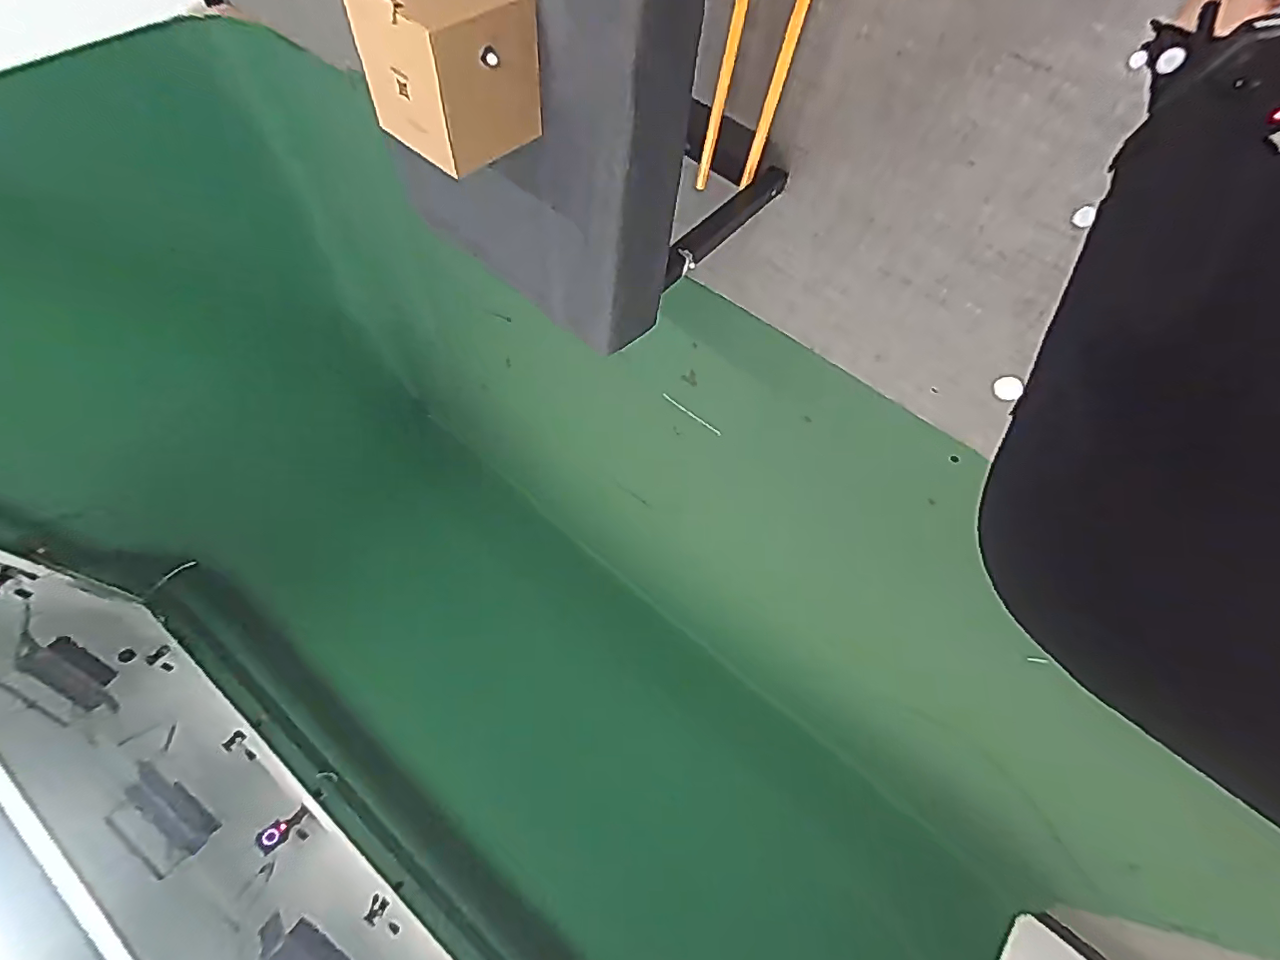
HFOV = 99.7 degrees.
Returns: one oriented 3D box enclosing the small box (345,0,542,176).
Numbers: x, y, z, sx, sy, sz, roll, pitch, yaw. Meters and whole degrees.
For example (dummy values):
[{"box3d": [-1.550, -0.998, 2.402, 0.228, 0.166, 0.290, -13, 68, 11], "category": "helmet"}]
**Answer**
[{"box3d": [-0.248, -0.556, 0.718, 0.168, 0.176, 0.179, 39, 155, 13], "category": "small box"}]
